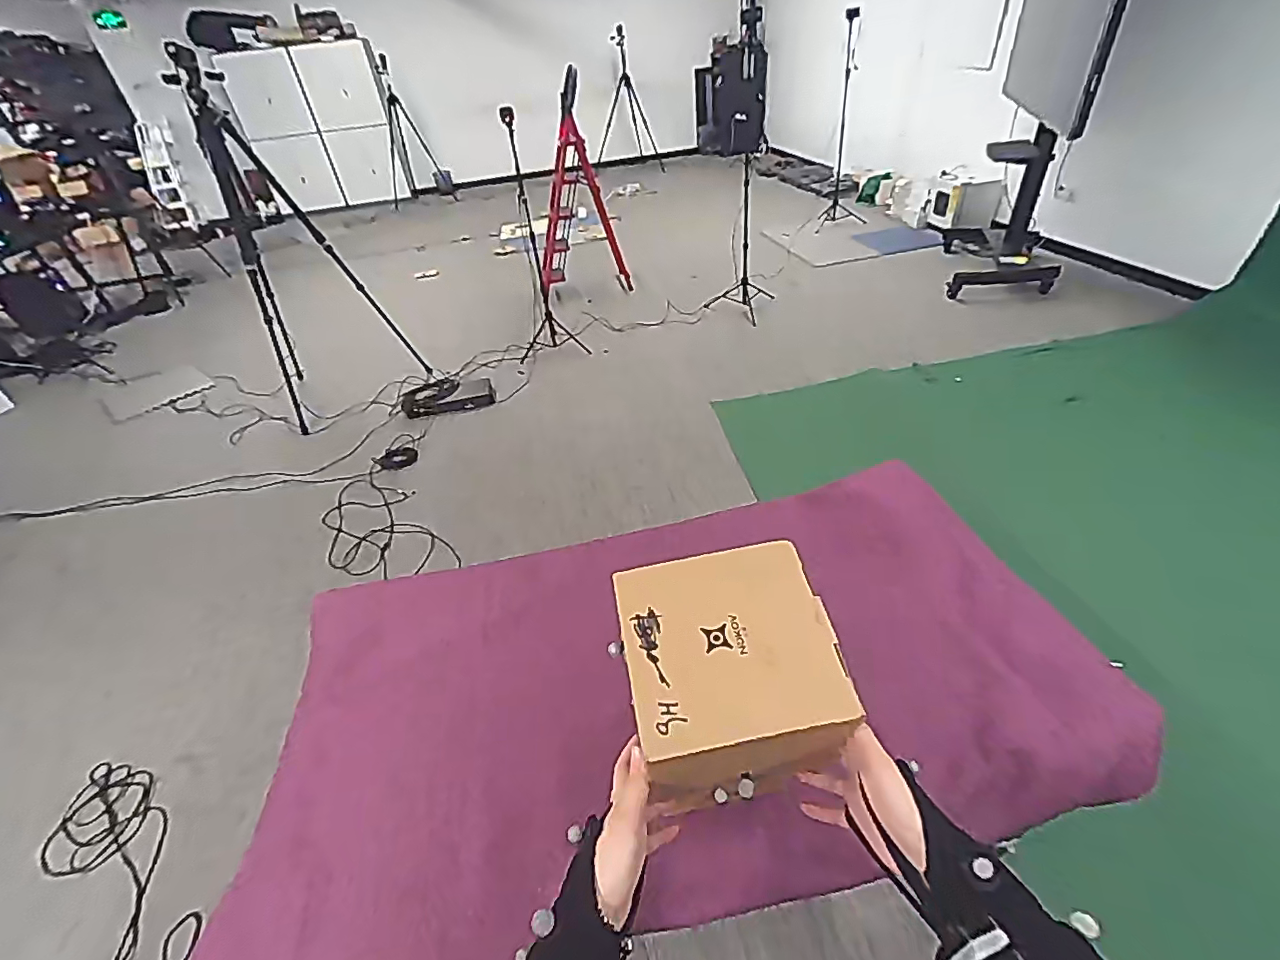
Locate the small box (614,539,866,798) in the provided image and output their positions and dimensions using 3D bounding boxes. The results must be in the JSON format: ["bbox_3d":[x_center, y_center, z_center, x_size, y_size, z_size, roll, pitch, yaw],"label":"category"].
[{"bbox_3d":[0.075,0.179,0.506,0.179,0.176,0.168,-9,49,-3],"label":"small box"}]

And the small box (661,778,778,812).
[{"bbox_3d":[0.087,0.313,0.735,0.168,0.176,0.179,-11,39,-4],"label":"small box"}]
